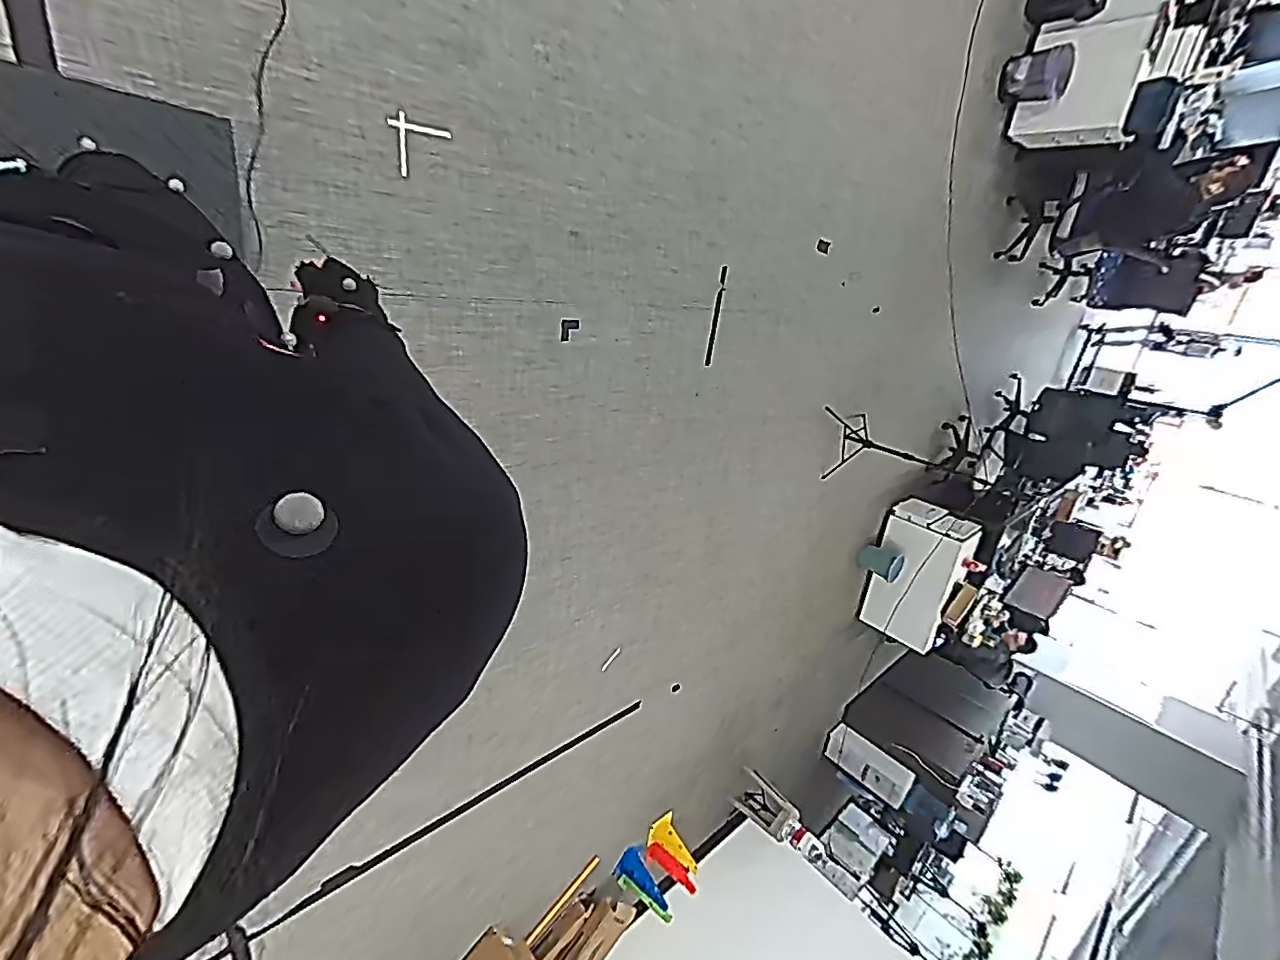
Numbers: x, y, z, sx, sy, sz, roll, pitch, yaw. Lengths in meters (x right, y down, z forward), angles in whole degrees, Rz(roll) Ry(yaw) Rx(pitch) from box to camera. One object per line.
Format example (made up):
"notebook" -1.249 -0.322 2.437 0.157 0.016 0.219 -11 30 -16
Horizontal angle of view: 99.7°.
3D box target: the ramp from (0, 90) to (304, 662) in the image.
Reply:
"ramp" -1.010 -0.181 1.059 0.509 0.206 0.991 -12 116 -39
